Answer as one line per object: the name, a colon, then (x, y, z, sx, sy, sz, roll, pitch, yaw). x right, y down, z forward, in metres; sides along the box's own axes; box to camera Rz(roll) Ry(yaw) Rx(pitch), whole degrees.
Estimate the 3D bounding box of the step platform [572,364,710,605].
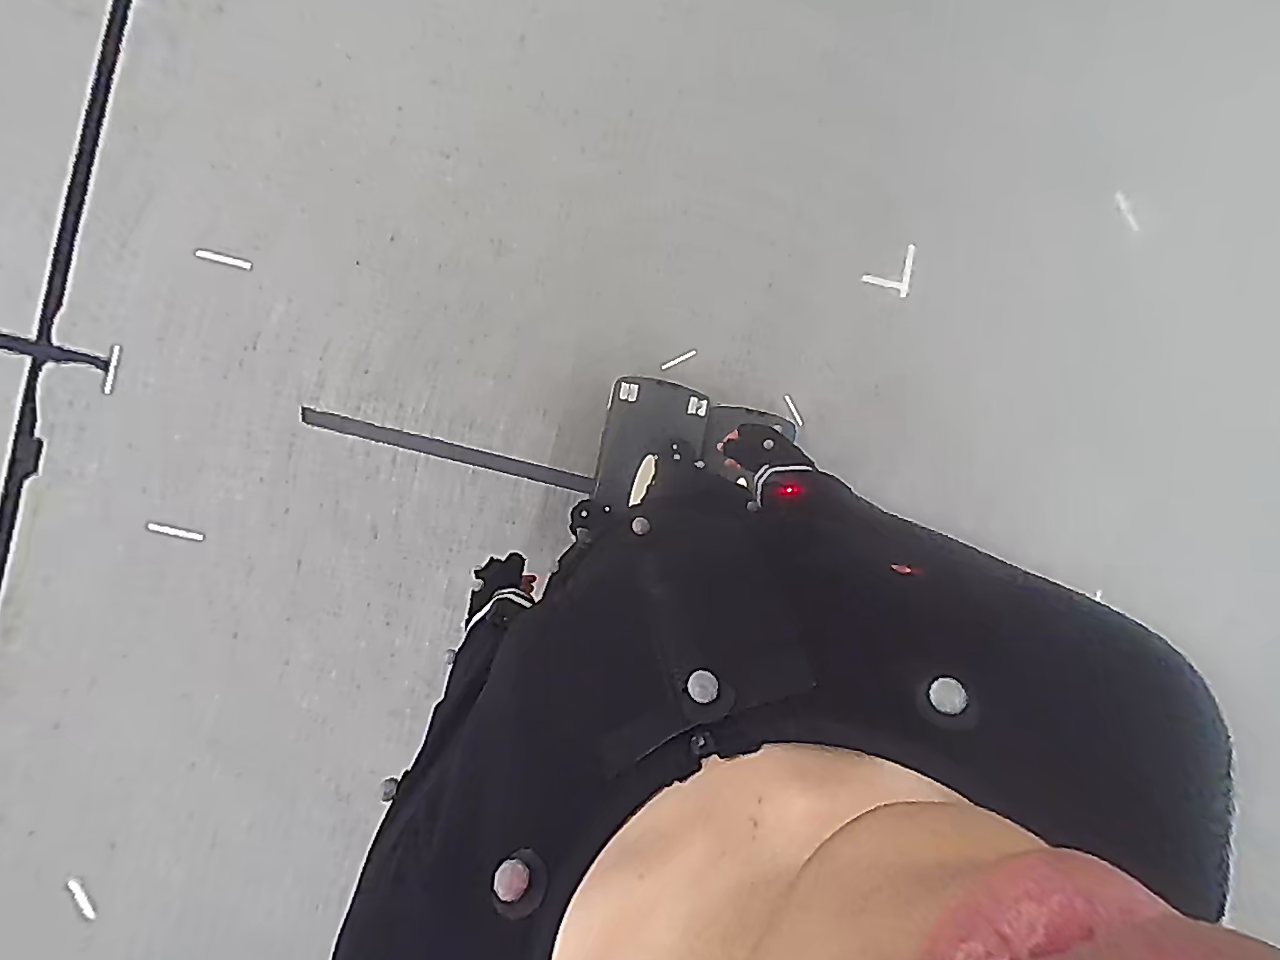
step platform: (0.000, 0.014, 1.580, 0.286, 0.204, 0.684, 11, 89, -5)
